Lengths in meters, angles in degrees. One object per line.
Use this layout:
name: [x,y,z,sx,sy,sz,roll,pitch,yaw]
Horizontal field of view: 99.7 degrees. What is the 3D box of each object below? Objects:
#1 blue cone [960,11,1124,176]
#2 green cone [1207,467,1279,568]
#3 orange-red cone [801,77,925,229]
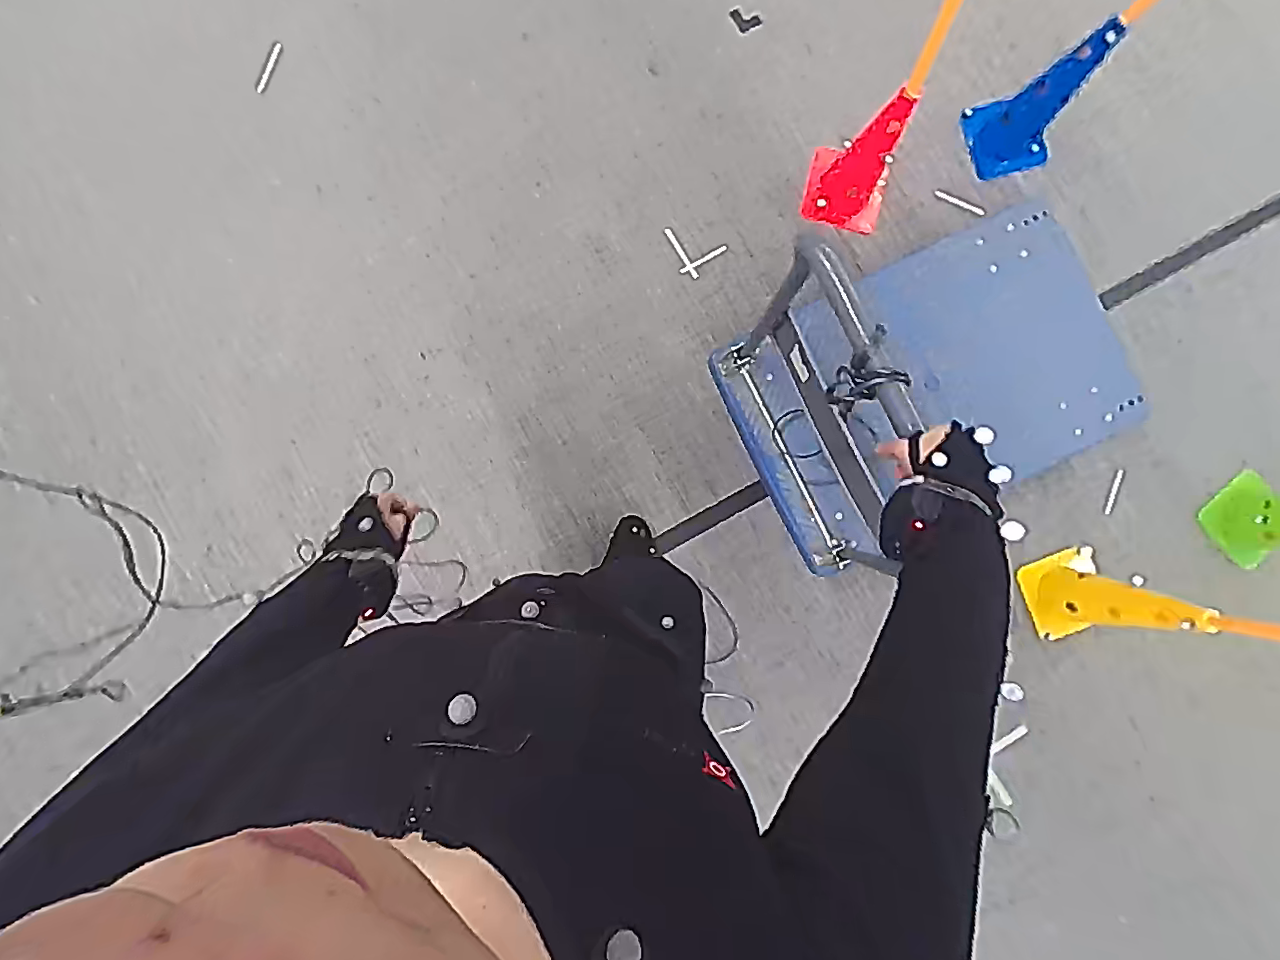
blue cone: [0.959,-0.917,1.263,0.192,0.380,0.193,-14,88,-1]
green cone: [1.577,0.089,1.211,0.202,0.368,0.200,-43,88,-1]
orange-red cone: [0.540,-0.772,1.237,0.199,0.360,0.198,16,88,-1]
